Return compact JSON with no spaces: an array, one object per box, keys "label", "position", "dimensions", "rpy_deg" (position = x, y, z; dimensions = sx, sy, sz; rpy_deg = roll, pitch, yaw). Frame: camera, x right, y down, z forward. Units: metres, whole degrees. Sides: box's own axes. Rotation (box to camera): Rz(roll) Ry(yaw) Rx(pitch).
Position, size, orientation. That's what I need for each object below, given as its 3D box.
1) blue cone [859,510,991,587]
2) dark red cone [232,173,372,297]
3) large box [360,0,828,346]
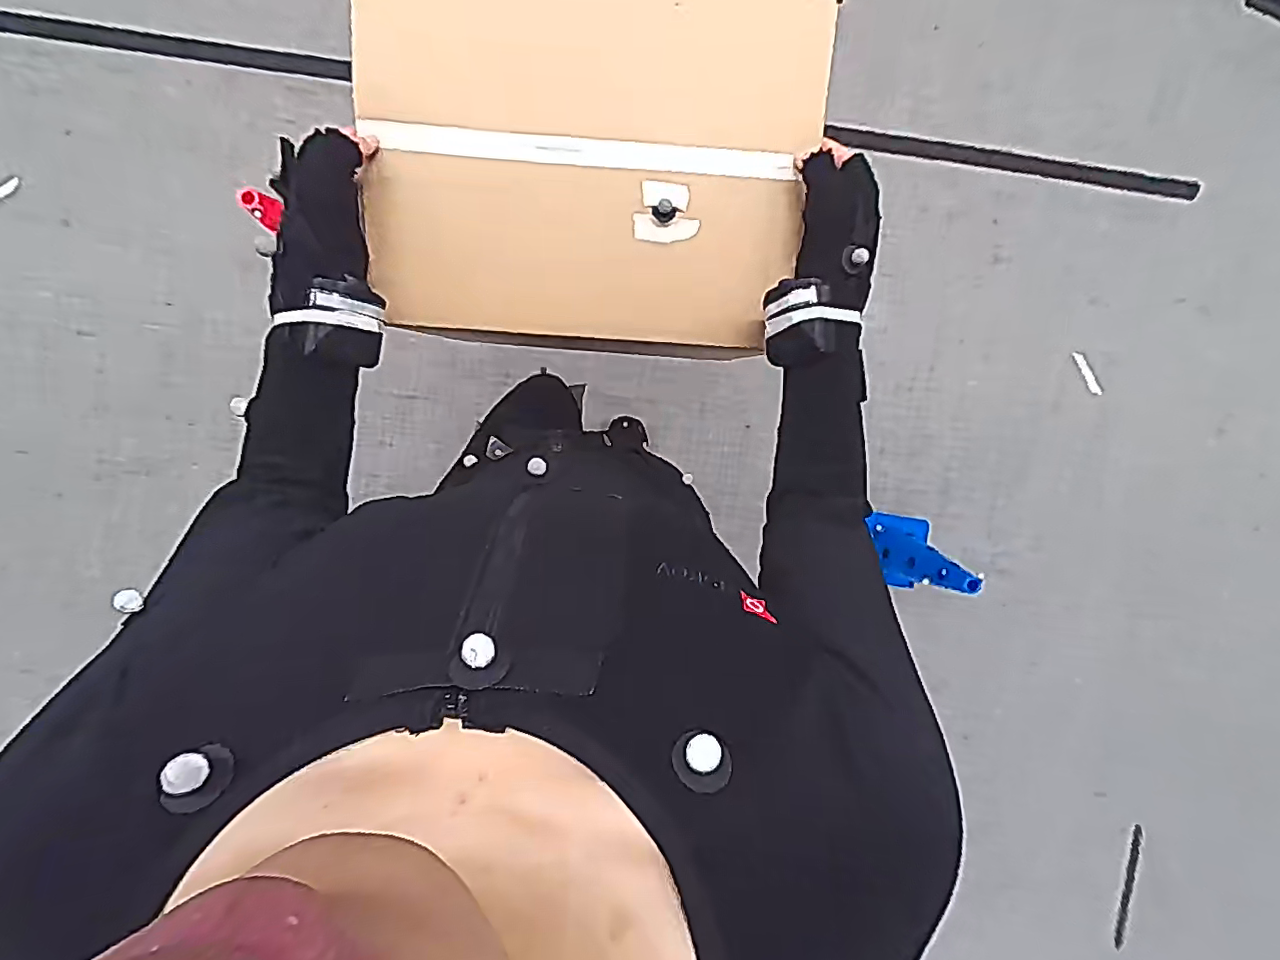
[{"label":"blue cone","position":[0.722,0.198,1.351],"dimensions":[0.192,0.380,0.193],"rpy_deg":[10,95,-4]},{"label":"dark red cone","position":[-0.756,-0.566,1.199],"dimensions":[0.201,0.394,0.202],"rpy_deg":[13,94,-4]},{"label":"large box","position":[-0.050,-0.328,0.623],"dimensions":[0.408,0.320,0.320],"rpy_deg":[3,101,-3]}]
